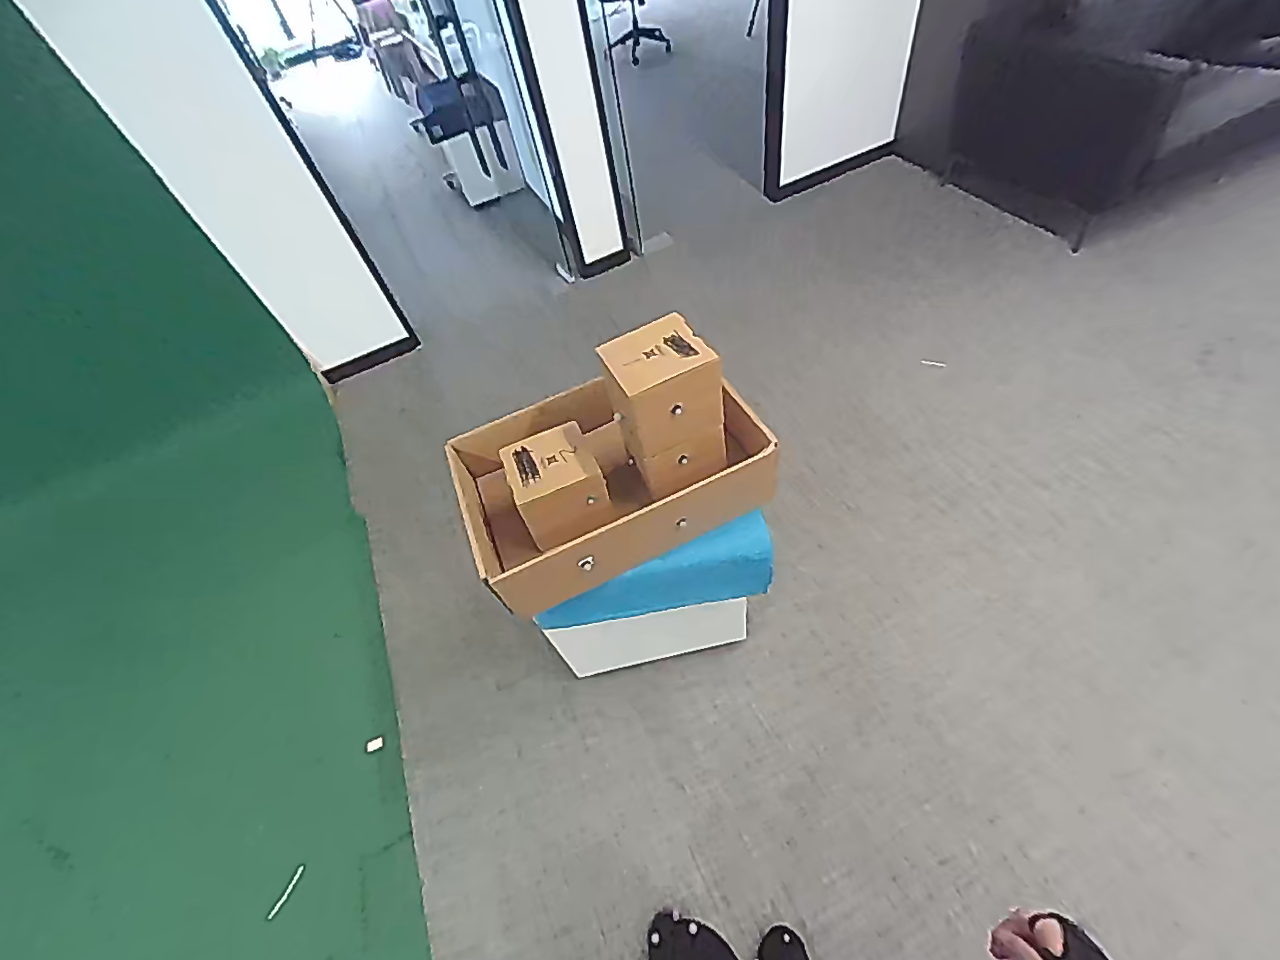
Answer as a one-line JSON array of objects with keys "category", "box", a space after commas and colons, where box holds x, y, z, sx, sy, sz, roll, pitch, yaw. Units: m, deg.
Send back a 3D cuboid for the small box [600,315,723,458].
[{"category": "small box", "box": [0.047, -0.175, 1.027, 0.179, 0.176, 0.168, -25, 50, -7]}]
